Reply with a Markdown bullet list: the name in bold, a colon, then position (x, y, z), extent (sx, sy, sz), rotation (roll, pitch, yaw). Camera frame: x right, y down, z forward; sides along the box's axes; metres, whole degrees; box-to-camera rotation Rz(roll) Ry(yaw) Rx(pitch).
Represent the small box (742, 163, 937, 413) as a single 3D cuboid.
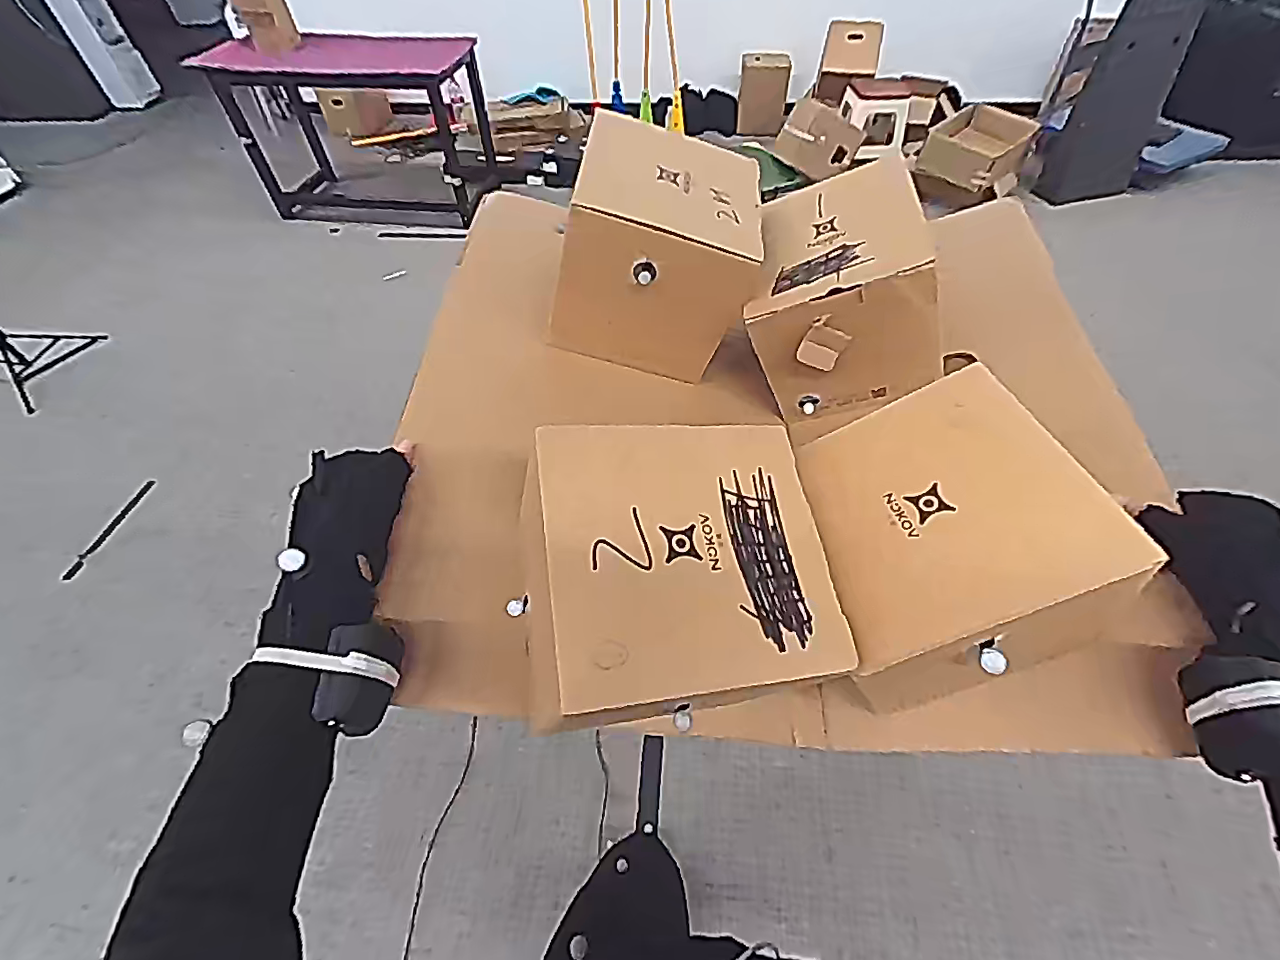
- **small box**: position (0.215, -0.191, 0.587), extent (0.168, 0.176, 0.179), rotation (-10, 54, 25)
